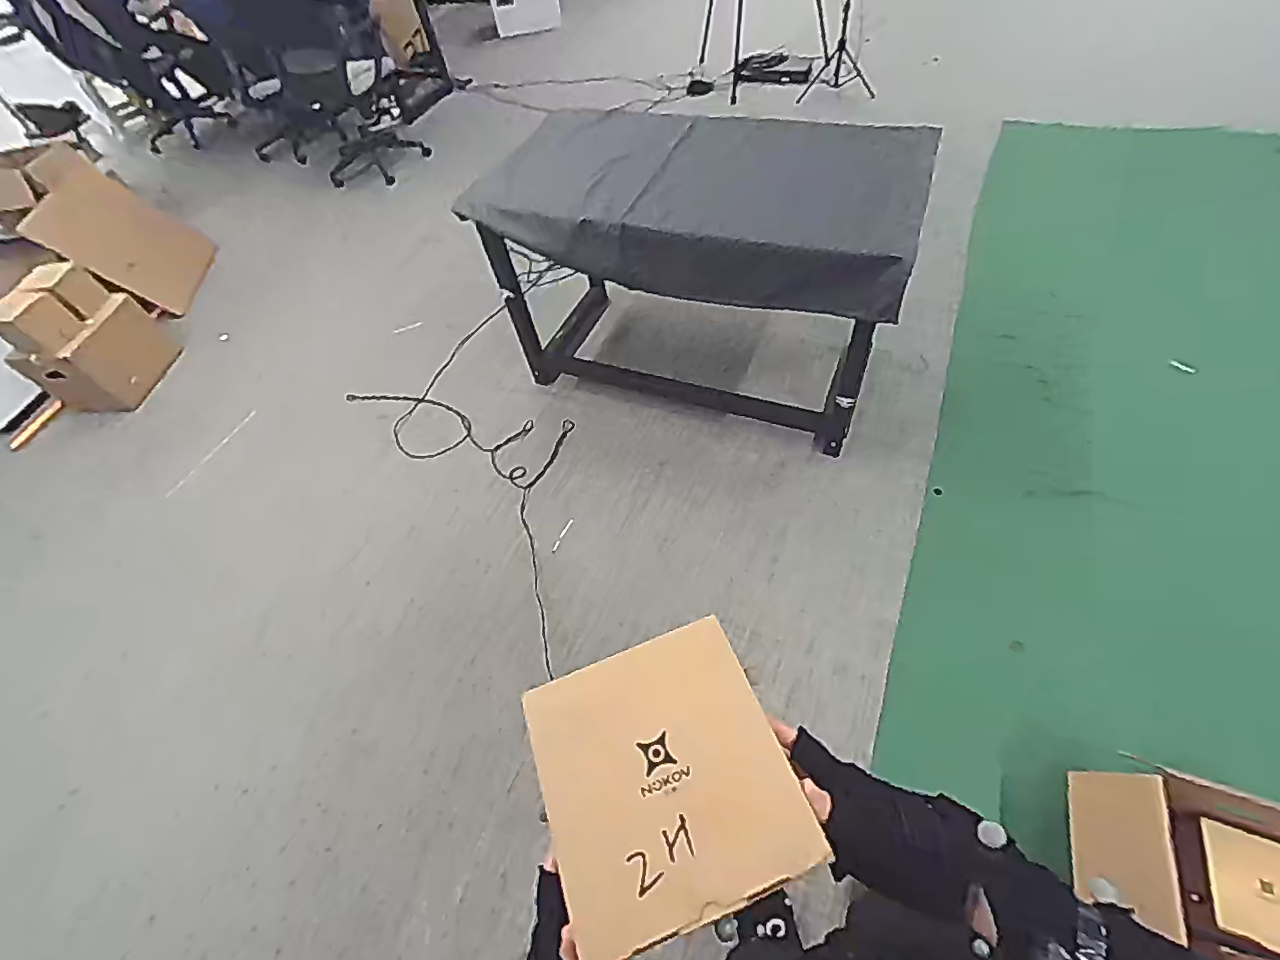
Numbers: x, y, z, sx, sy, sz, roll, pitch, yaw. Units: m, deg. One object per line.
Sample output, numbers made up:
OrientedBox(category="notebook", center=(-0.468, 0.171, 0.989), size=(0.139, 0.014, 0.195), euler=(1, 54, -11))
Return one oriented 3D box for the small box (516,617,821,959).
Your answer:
OrientedBox(category="small box", center=(0.019, 0.245, 0.433), size=(0.168, 0.176, 0.179), euler=(-21, 52, -5))
